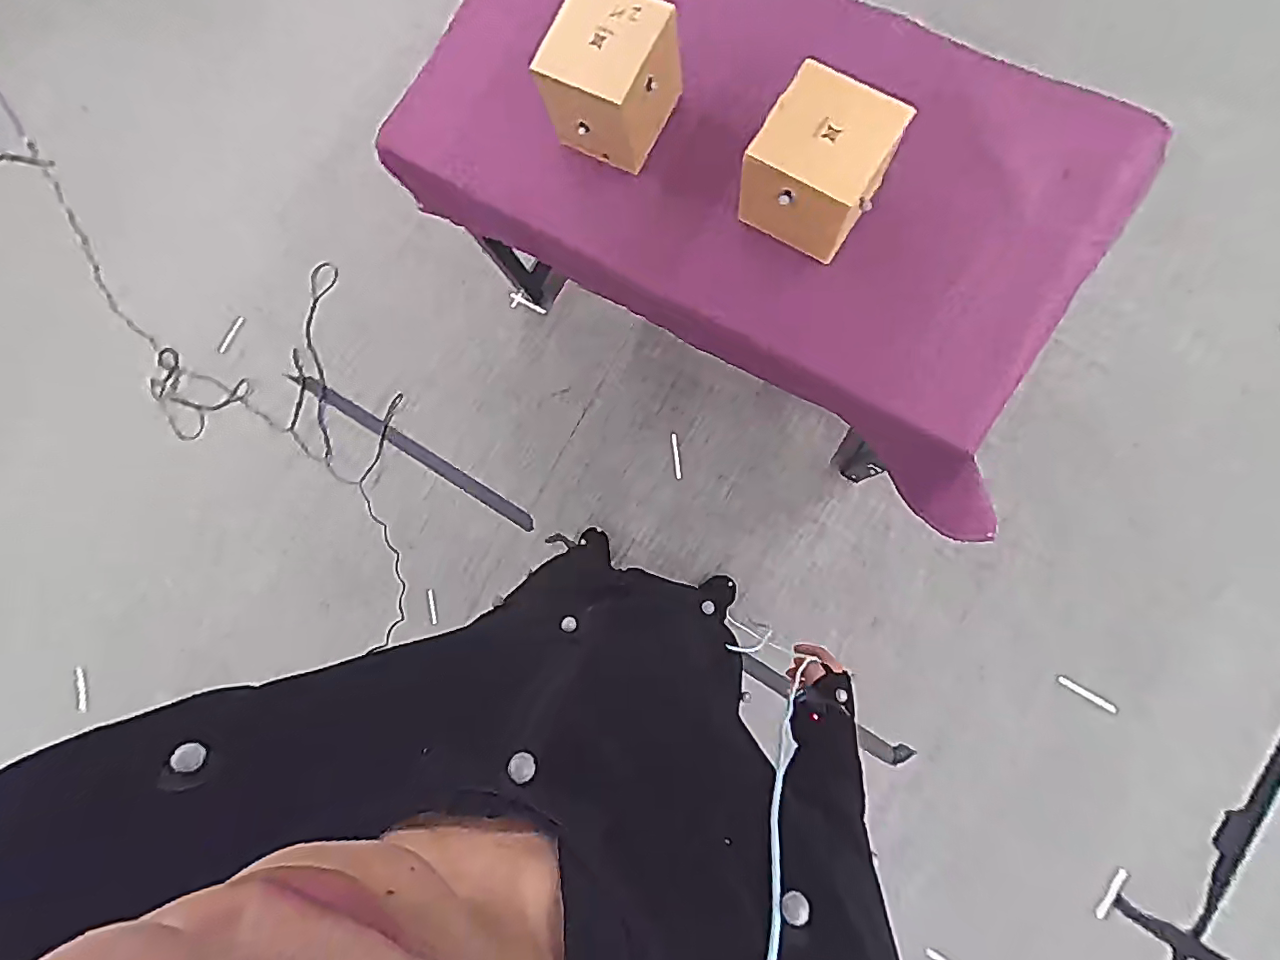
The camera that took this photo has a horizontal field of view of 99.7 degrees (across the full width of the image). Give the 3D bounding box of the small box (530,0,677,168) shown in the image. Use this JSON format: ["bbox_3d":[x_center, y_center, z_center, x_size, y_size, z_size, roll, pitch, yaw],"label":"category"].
[{"bbox_3d":[-0.048,-0.663,0.893,0.168,0.176,0.179,29,89,9],"label":"small box"}]

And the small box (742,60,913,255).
[{"bbox_3d":[0.274,-0.479,0.835,0.179,0.176,0.168,33,90,10],"label":"small box"}]
